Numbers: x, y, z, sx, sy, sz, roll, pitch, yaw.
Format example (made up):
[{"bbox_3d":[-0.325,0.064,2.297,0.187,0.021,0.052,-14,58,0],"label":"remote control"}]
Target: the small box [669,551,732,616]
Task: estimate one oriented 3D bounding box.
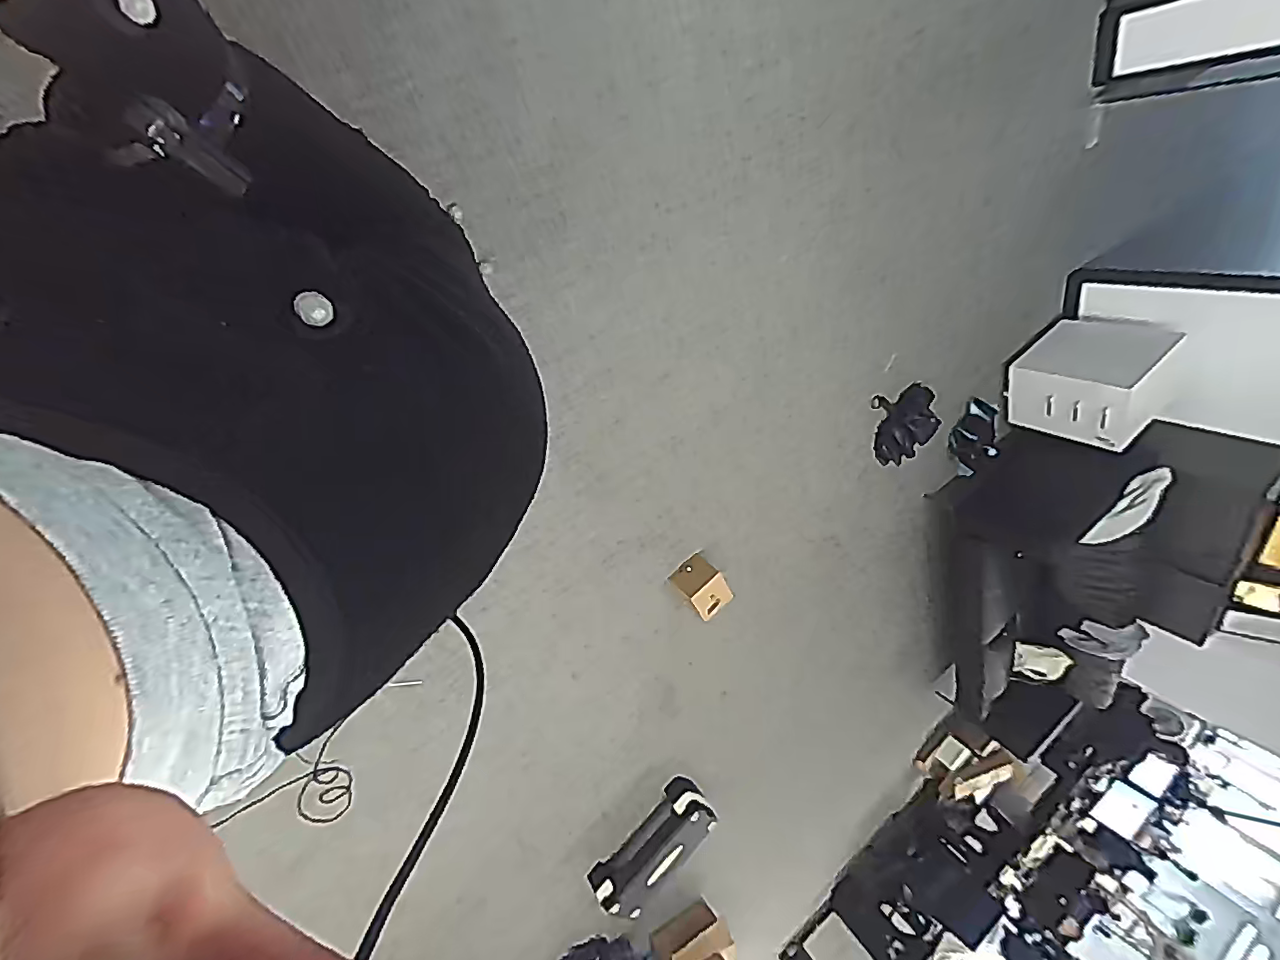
[{"bbox_3d":[0.252,0.427,2.264,0.168,0.176,0.179,-41,127,-13],"label":"small box"}]
